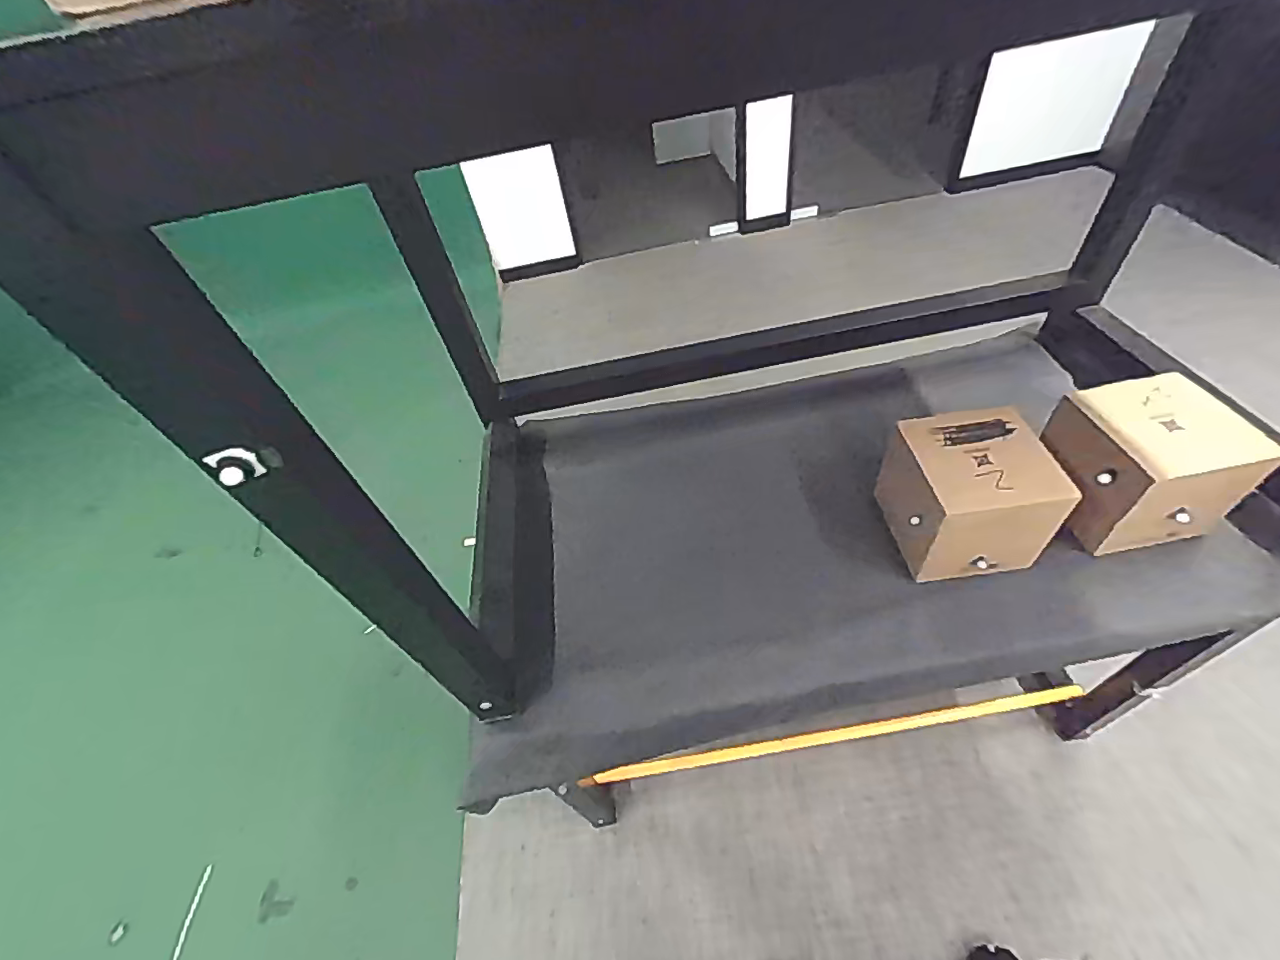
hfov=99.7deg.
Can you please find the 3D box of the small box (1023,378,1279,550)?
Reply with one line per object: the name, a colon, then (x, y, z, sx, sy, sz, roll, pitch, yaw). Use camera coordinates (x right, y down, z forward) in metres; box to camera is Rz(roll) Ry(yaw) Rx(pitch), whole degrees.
small box: (0.706, -0.015, 0.777, 0.168, 0.176, 0.179, -11, 47, 1)
